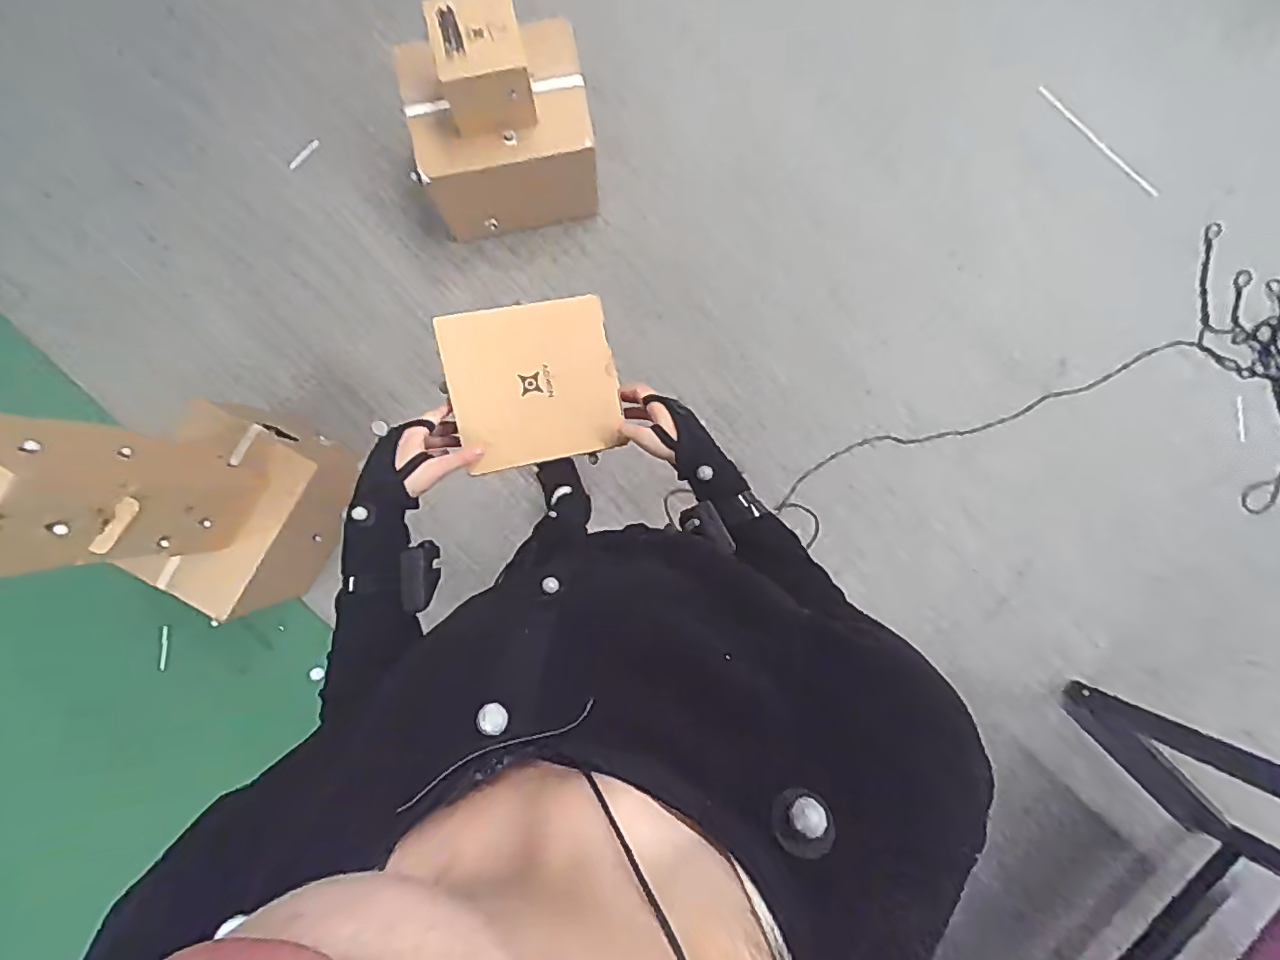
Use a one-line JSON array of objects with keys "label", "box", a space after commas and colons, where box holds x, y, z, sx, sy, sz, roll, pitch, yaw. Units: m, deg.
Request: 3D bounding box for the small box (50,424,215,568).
[{"label": "small box", "box": [-0.894, 0.025, 0.923, 0.179, 0.176, 0.168, 35, 87, -1]}]

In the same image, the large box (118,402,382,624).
[{"label": "large box", "box": [-0.923, 0.072, 1.330, 0.320, 0.320, 0.408, 30, 89, 0]}]

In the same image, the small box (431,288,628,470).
[{"label": "small box", "box": [-0.127, -0.107, 0.639, 0.179, 0.176, 0.168, -14, 94, -13]}]

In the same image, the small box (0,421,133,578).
[{"label": "small box", "box": [-0.892, 0.022, 0.759, 0.179, 0.176, 0.168, 34, 87, -3]}]

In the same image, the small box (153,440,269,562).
[{"label": "small box", "box": [-0.902, 0.040, 1.086, 0.168, 0.176, 0.179, 33, 87, -2]}]
